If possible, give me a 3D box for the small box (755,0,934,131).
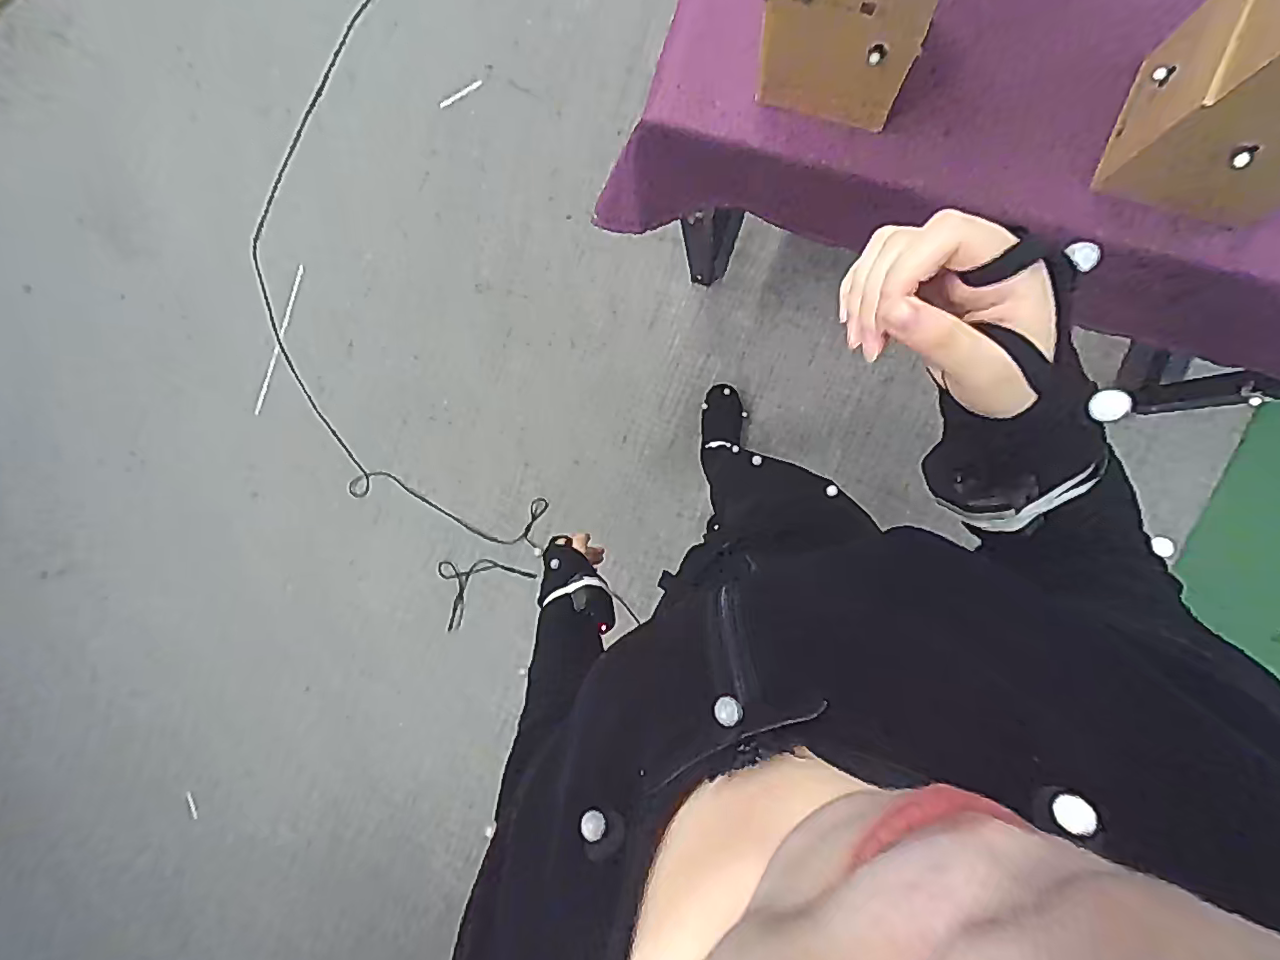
[{"bbox_3d":[0.248,-0.560,0.646,0.179,0.176,0.168,20,94,6],"label":"small box"}]

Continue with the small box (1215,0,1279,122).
[{"bbox_3d":[0.636,-0.407,0.429,0.168,0.176,0.179,19,94,7],"label":"small box"}]

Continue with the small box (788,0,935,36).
[{"bbox_3d":[0.227,-0.557,0.483,0.168,0.176,0.179,19,93,6],"label":"small box"}]

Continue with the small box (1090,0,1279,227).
[{"bbox_3d":[0.656,-0.406,0.590,0.179,0.176,0.168,21,95,7],"label":"small box"}]
